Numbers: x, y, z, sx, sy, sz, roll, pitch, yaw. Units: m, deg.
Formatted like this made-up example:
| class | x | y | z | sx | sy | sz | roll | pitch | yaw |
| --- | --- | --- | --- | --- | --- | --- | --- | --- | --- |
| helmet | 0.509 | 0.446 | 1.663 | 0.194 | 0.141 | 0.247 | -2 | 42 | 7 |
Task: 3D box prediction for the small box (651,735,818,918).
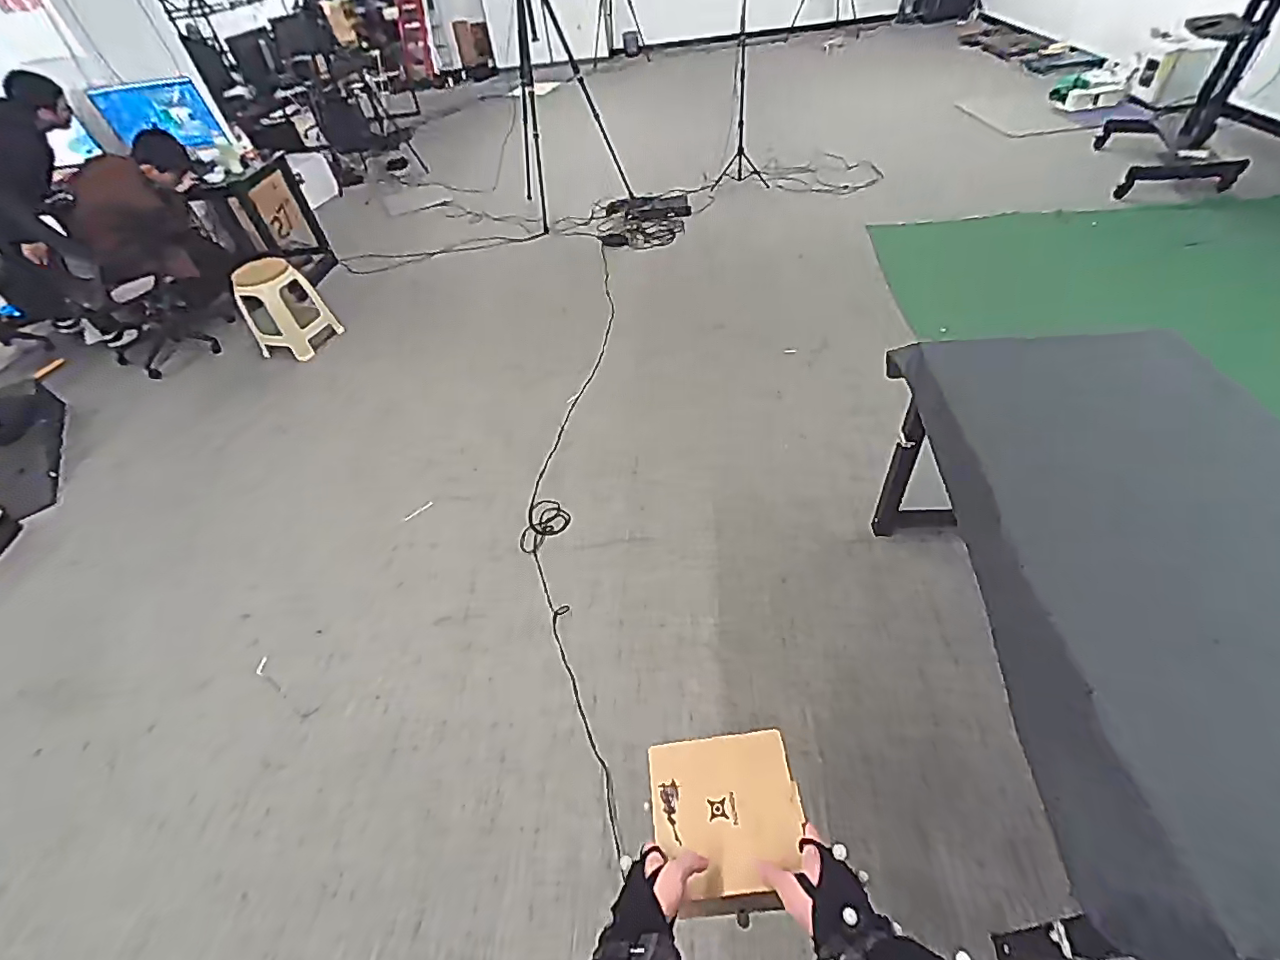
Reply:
| class | x | y | z | sx | sy | sz | roll | pitch | yaw |
| --- | --- | --- | --- | --- | --- | --- | --- | --- | --- |
| small box | 0.113 | 0.451 | 0.701 | 0.179 | 0.176 | 0.168 | -8 | 45 | 3 |
